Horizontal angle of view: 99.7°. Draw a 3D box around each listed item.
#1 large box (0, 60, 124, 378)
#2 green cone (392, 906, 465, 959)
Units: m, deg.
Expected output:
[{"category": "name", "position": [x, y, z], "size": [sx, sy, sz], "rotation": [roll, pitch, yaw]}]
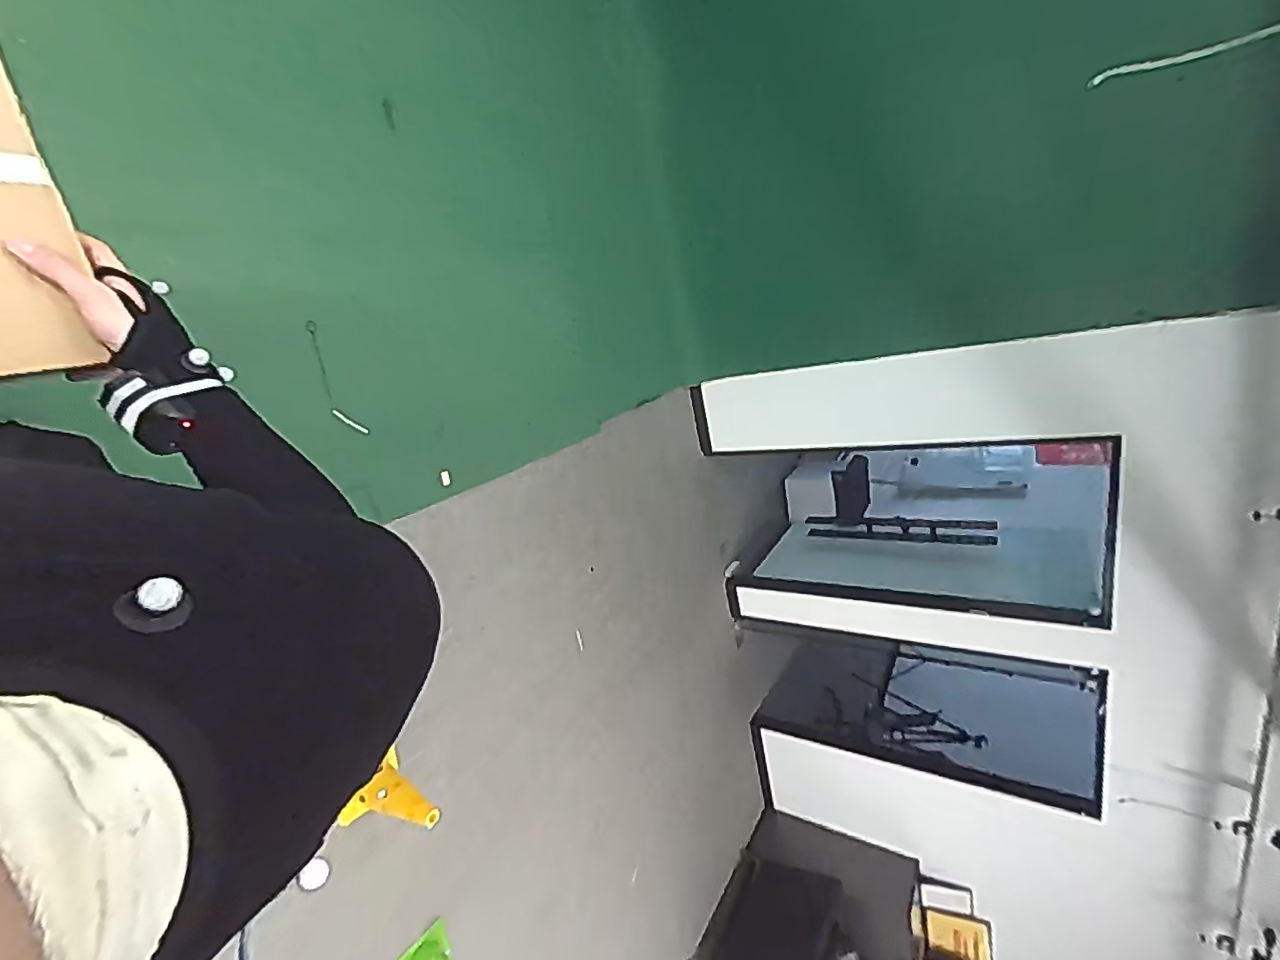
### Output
[{"category": "large box", "position": [-0.744, -0.208, 0.411], "size": [0.408, 0.320, 0.320], "rotation": [-29, 118, -47]}, {"category": "green cone", "position": [-0.613, 1.634, 1.784], "size": [0.200, 0.368, 0.202], "rotation": [-24, 108, -53]}]
